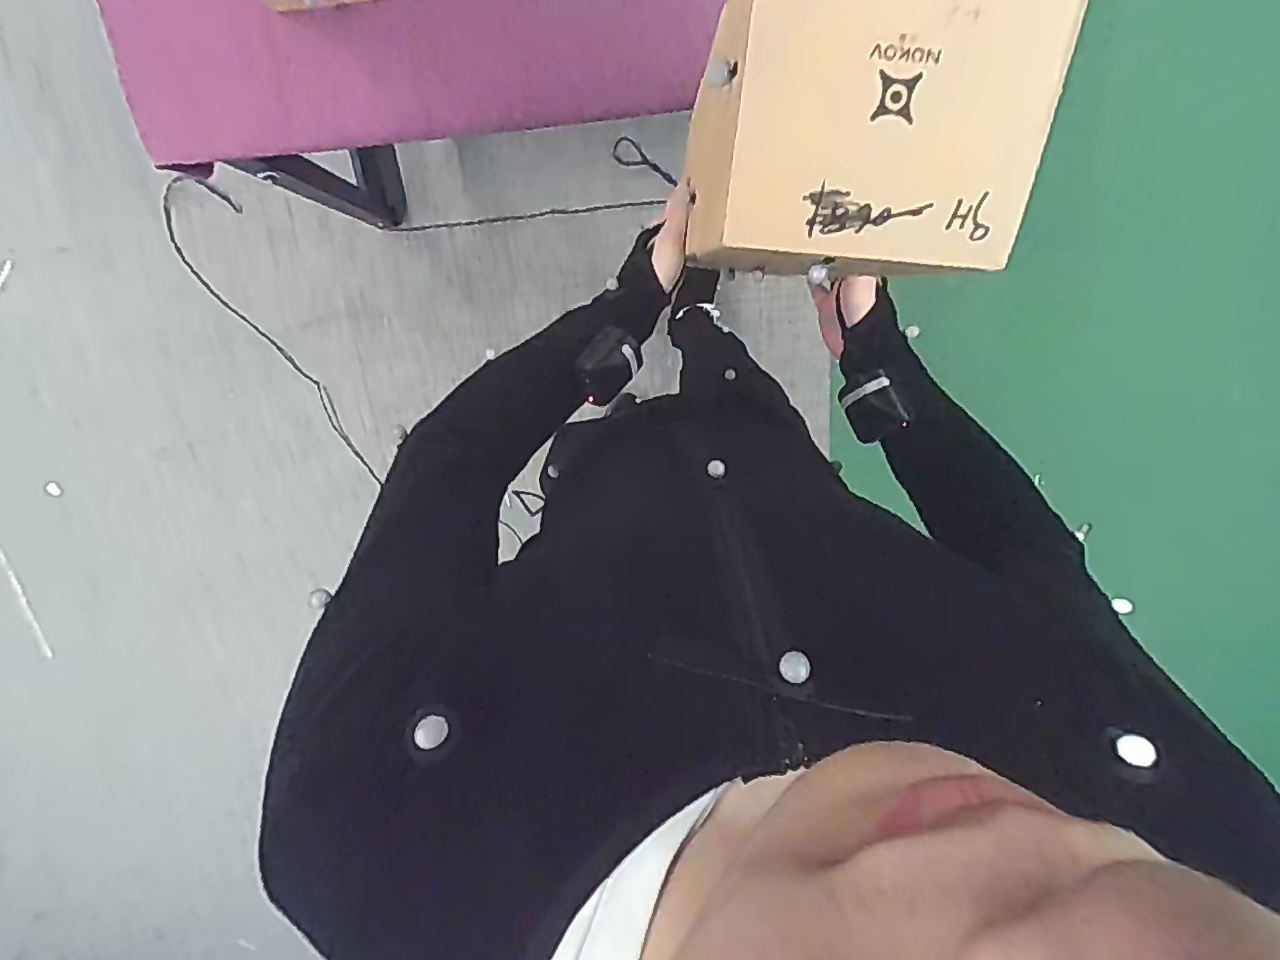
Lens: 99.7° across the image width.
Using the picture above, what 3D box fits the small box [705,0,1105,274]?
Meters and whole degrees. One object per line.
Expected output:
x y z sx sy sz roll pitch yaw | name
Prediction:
0.138 -0.234 0.344 0.168 0.176 0.179 5 110 -1 | small box

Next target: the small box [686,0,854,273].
0.137 -0.292 0.497 0.168 0.176 0.179 6 110 -2 | small box

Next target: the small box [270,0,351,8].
-0.396 -0.664 0.581 0.168 0.176 0.179 -7 106 0 | small box
